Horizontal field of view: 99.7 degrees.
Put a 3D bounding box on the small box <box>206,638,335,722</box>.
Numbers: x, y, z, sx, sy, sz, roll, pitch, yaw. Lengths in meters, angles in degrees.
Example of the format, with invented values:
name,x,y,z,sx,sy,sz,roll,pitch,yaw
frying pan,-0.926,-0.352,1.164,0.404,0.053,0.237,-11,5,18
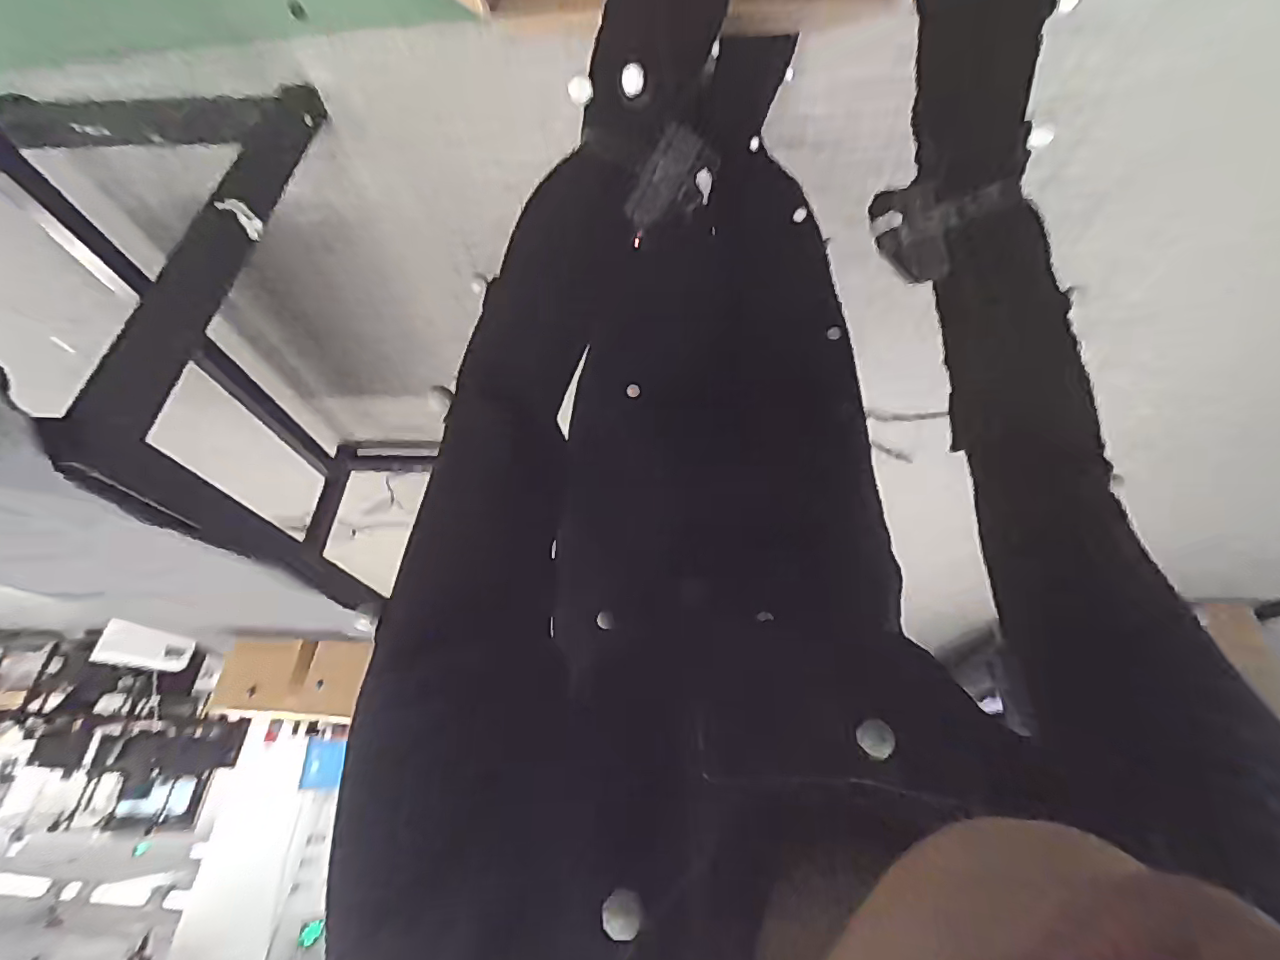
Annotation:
name,x,y,z,sx,sy,sz,roll,pitch,yaw
small box,-0.894,0.490,1.327,0.179,0.176,0.168,1,151,2
